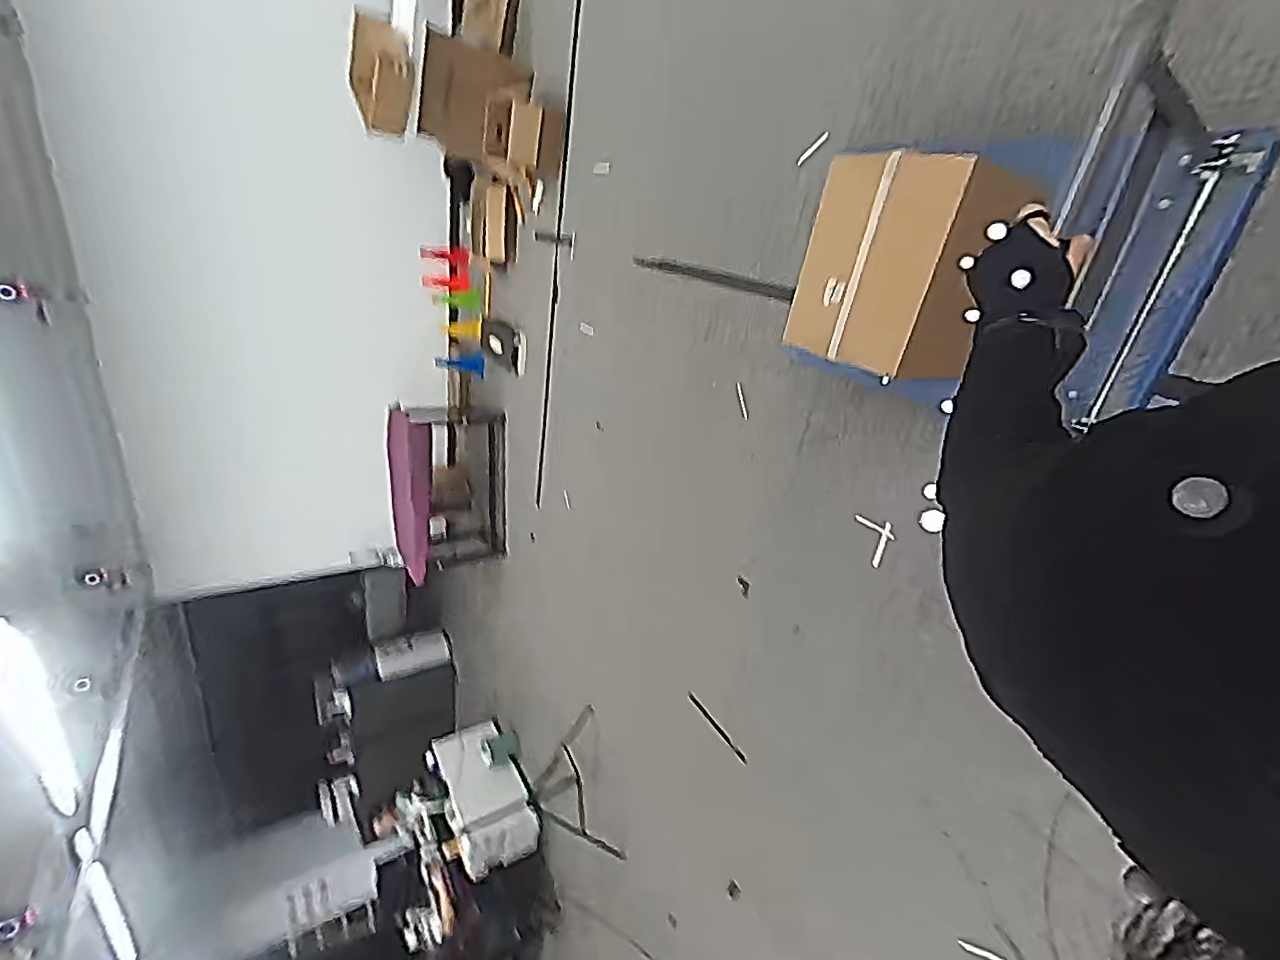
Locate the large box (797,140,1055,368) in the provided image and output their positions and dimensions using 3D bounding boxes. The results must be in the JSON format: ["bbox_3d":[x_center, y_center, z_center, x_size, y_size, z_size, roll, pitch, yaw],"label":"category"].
[{"bbox_3d":[0.610,-0.487,1.194,0.320,0.320,0.408,40,129,46],"label":"large box"}]
